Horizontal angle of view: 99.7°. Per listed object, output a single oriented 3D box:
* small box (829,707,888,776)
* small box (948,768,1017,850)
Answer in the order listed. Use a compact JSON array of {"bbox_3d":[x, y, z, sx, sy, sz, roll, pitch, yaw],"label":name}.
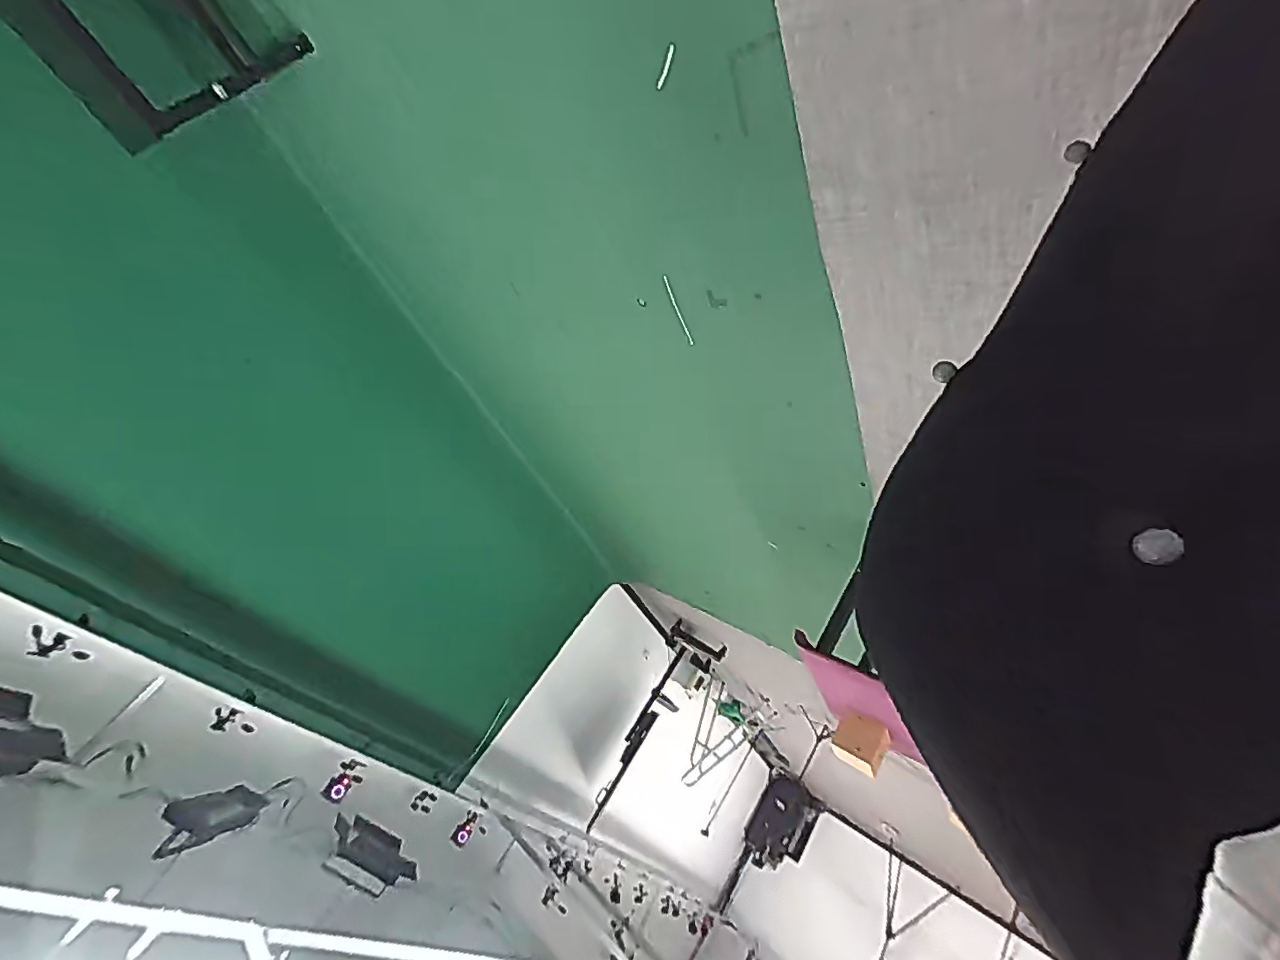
[{"bbox_3d":[0.895,1.060,2.198,0.168,0.176,0.179,16,149,40],"label":"small box"},{"bbox_3d":[1.214,1.163,1.919,0.168,0.176,0.179,18,149,39],"label":"small box"}]
